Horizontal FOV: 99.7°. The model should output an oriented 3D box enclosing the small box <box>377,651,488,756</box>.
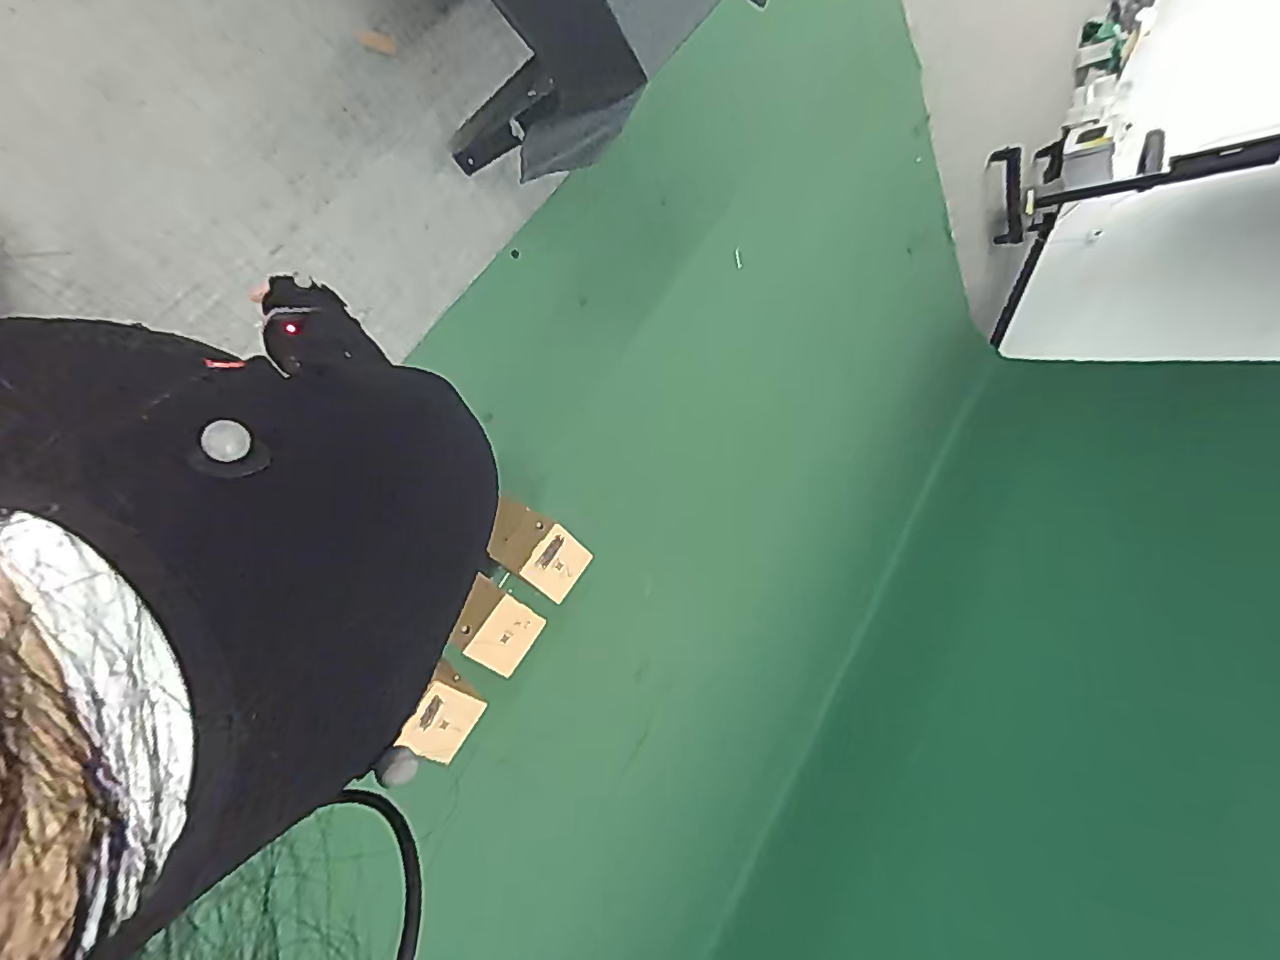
[{"bbox_3d":[-0.530,0.558,1.371,0.179,0.176,0.168,46,70,-38],"label":"small box"}]
